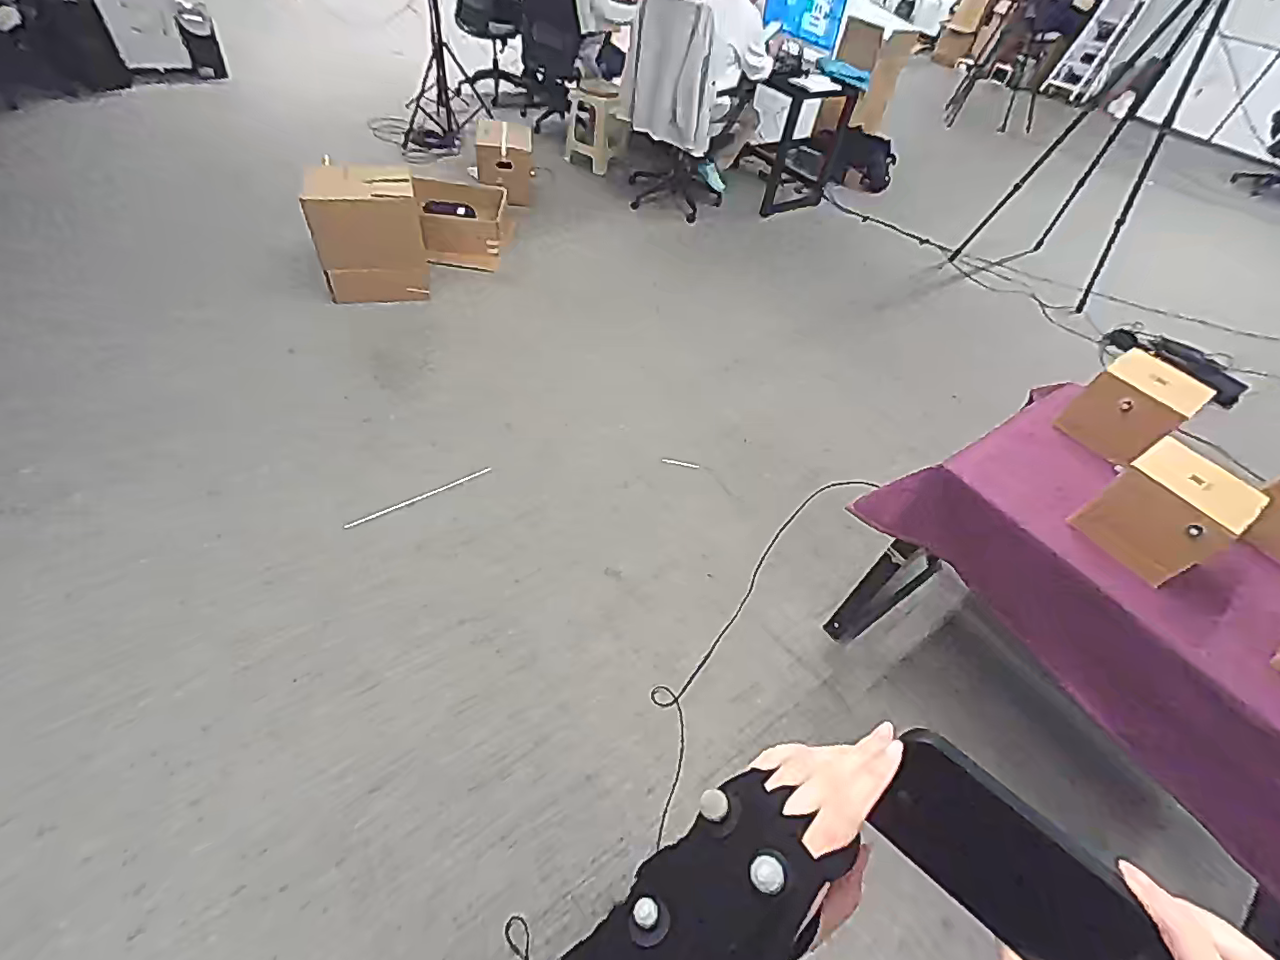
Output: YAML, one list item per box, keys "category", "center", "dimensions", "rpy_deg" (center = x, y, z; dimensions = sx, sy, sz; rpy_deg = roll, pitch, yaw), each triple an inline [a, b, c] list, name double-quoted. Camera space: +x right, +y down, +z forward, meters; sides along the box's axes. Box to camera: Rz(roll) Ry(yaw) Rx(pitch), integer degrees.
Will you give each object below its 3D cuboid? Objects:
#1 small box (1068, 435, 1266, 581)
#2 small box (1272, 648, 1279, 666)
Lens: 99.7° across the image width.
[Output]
- category: "small box"
  center: [0.952, 0.053, 0.995]
  dimensions: [0.168, 0.176, 0.179]
  rpy_deg: [-23, 58, -26]
- category: "small box"
  center: [1.164, 0.281, 0.830]
  dimensions: [0.168, 0.176, 0.179]
  rpy_deg: [-21, 57, -25]
